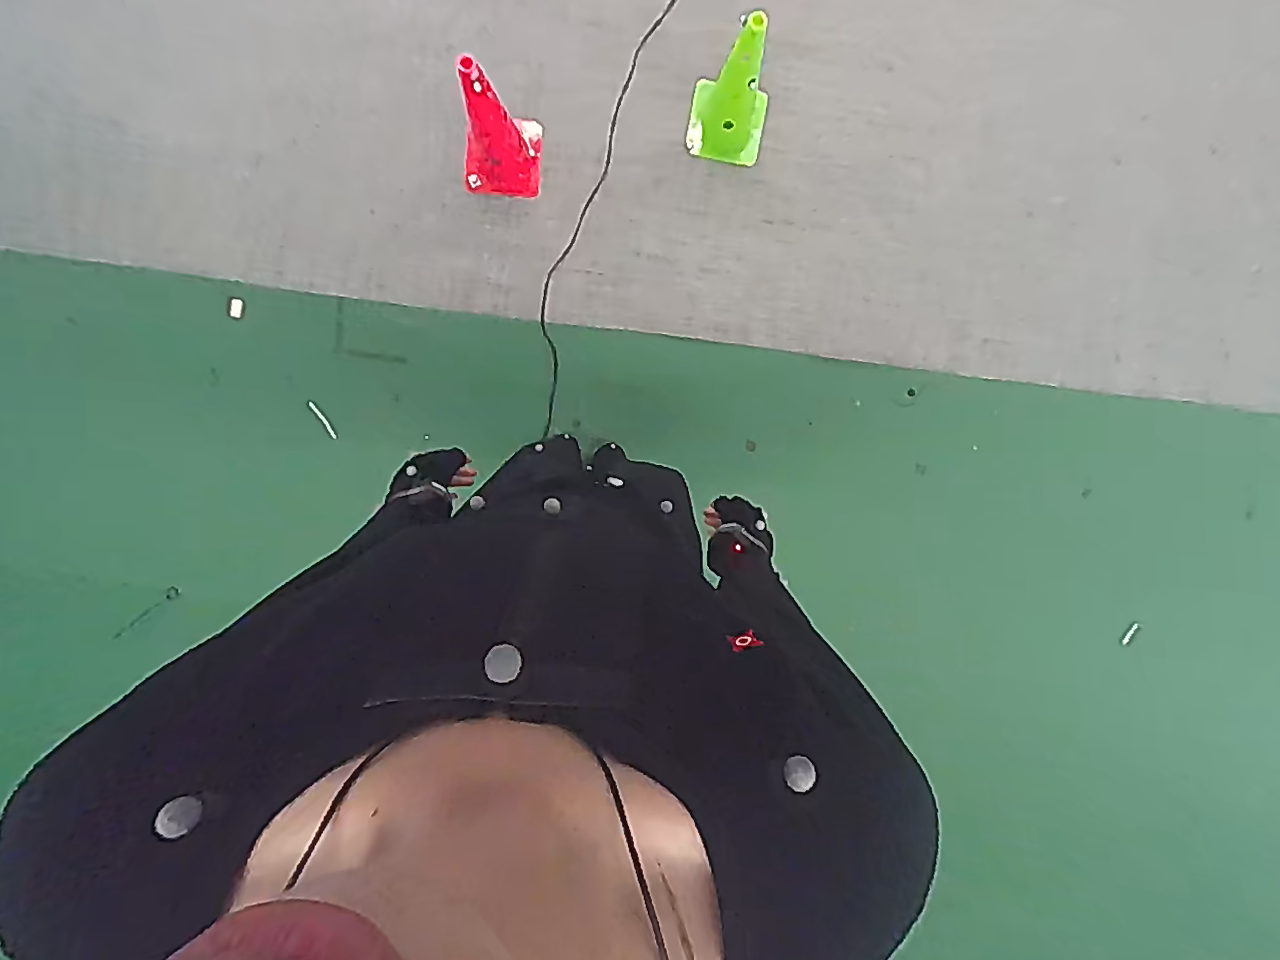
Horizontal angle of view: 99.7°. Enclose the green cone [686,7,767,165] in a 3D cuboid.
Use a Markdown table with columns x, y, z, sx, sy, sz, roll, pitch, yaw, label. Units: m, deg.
| x | y | z | sx | sy | sz | roll | pitch | yaw | label |
| --- | --- | --- | --- | --- | --- | --- | --- | --- | --- |
| 0.242 | -0.962 | 1.299 | 0.200 | 0.368 | 0.202 | 9 | 91 | -2 | green cone |
